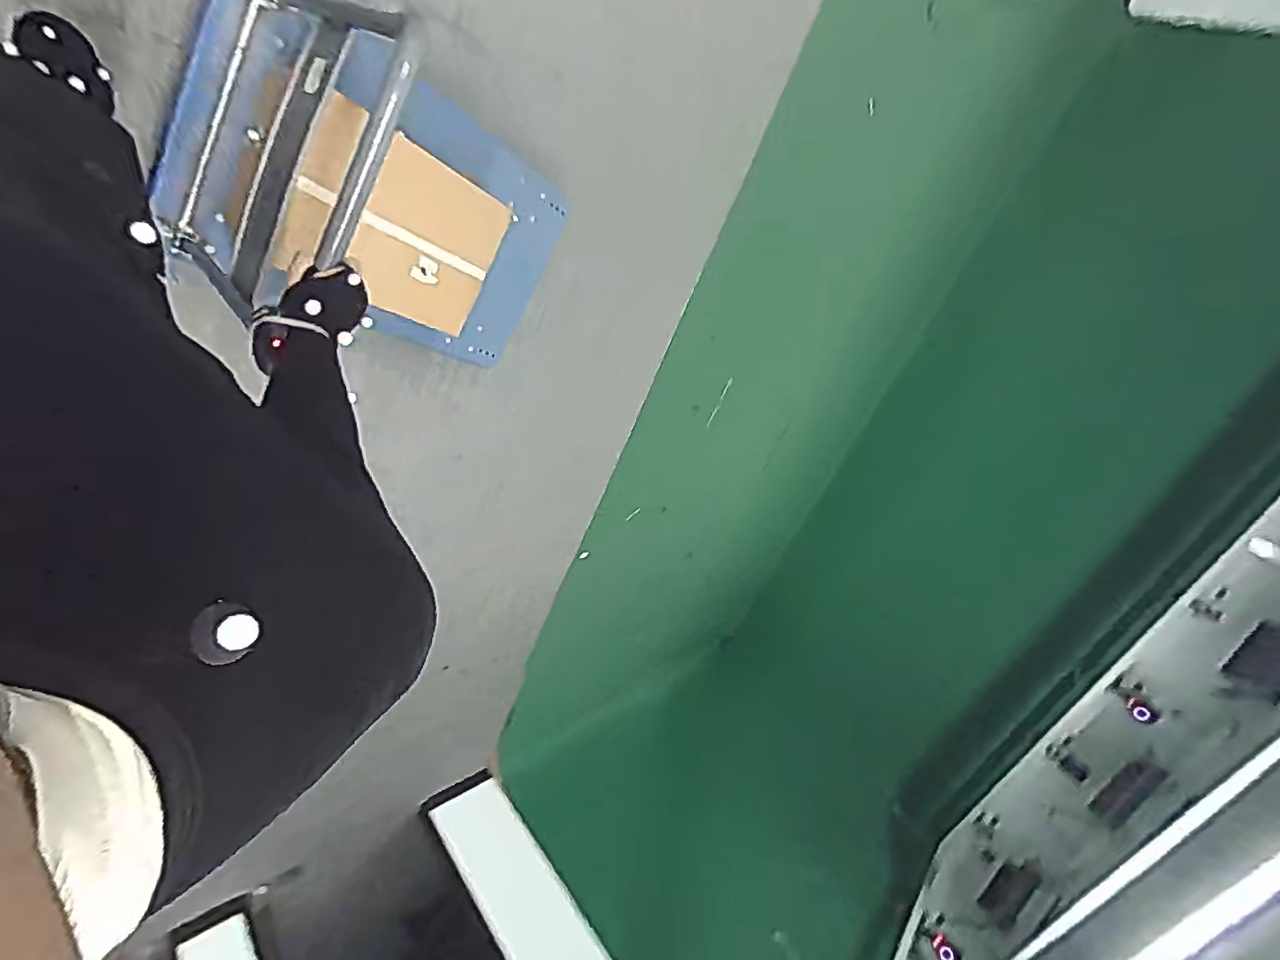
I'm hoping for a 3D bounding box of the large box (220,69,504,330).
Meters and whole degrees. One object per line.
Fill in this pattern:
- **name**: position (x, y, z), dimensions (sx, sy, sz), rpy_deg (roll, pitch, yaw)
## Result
- **large box**: position (-0.584, -0.574, 1.152), dimensions (0.408, 0.320, 0.320), rpy_deg (10, 114, -55)
